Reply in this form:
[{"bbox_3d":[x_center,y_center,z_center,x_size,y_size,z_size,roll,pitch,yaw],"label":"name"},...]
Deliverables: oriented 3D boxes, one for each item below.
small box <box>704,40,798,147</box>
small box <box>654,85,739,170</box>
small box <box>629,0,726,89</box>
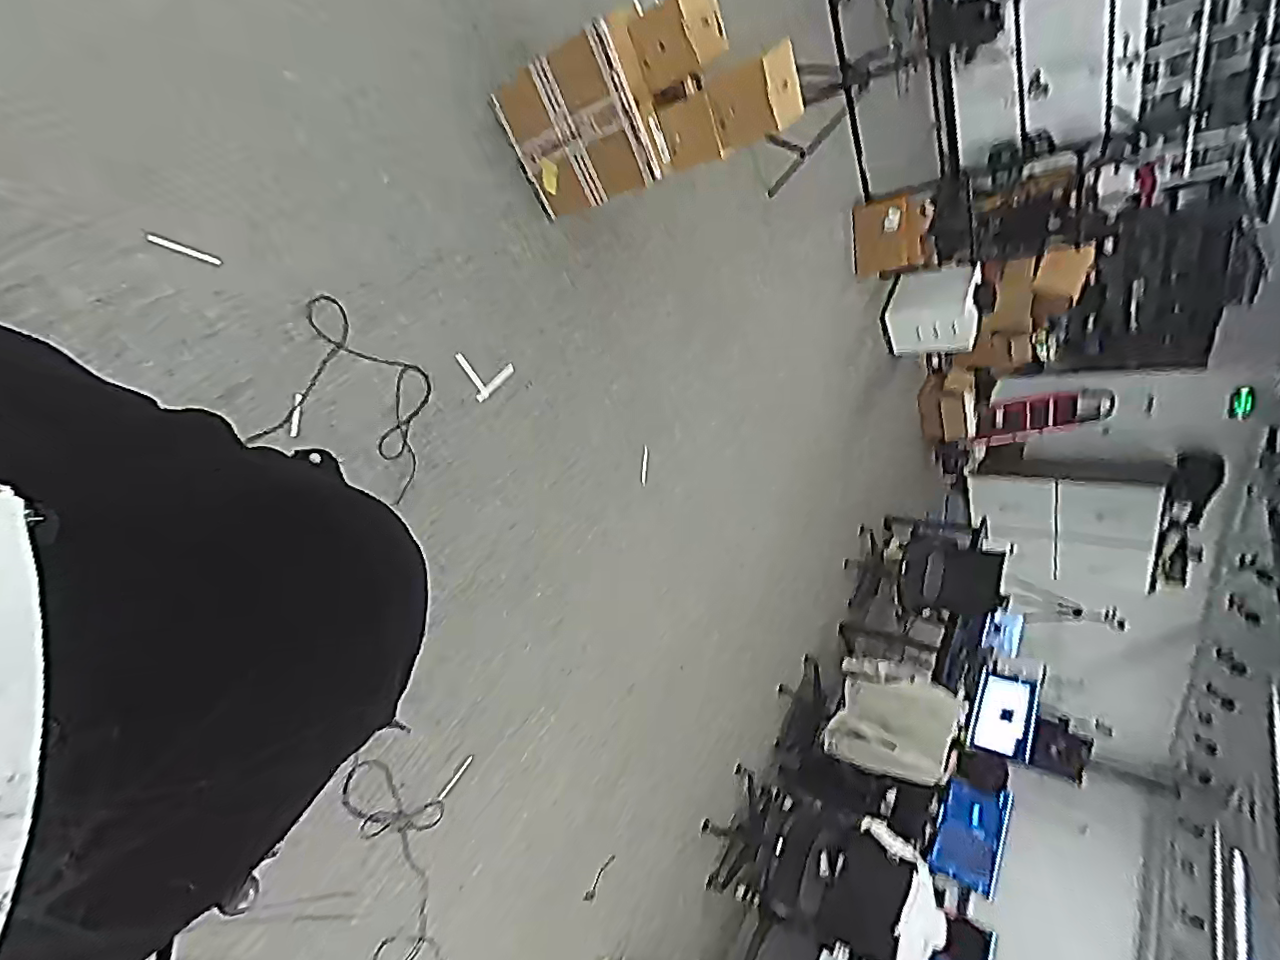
[{"bbox_3d":[0.294,-1.017,1.430,0.179,0.176,0.168,-51,131,-30],"label":"small box"},{"bbox_3d":[0.170,-1.015,1.541,0.179,0.176,0.168,-49,129,-31],"label":"small box"},{"bbox_3d":[0.092,-1.175,1.430,0.179,0.176,0.168,-48,126,-31],"label":"small box"}]
